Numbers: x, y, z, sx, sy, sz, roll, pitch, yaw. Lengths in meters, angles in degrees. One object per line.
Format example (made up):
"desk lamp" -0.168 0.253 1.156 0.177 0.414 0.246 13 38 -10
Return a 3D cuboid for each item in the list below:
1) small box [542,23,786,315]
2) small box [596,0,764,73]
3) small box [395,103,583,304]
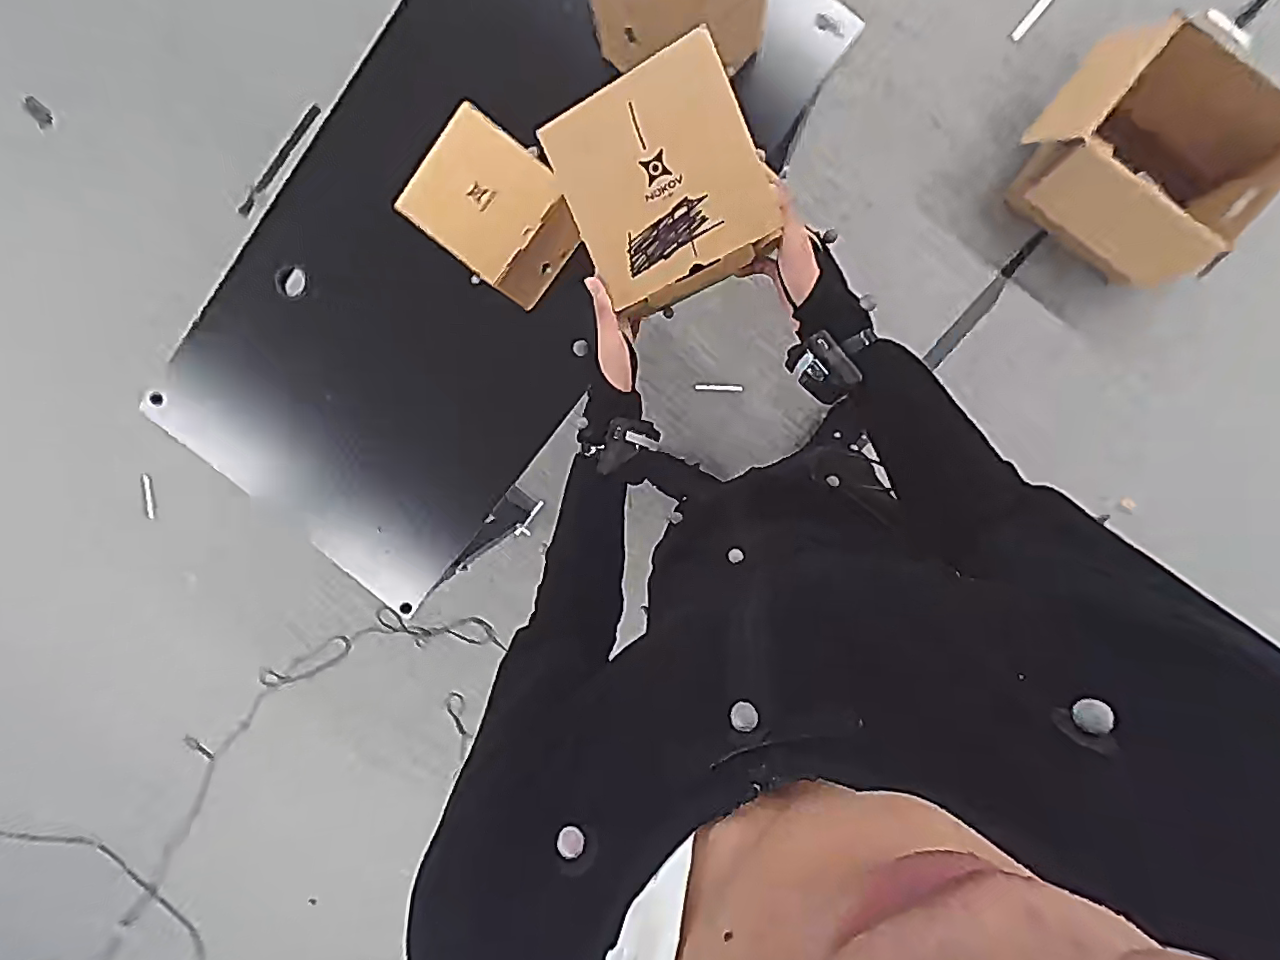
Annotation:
"small box" 0.035 -0.280 0.539 0.168 0.176 0.179 -21 100 15
"small box" 0.052 -0.645 0.739 0.179 0.176 0.168 43 99 -1
"small box" -0.207 -0.383 0.790 0.179 0.176 0.168 38 98 -1
